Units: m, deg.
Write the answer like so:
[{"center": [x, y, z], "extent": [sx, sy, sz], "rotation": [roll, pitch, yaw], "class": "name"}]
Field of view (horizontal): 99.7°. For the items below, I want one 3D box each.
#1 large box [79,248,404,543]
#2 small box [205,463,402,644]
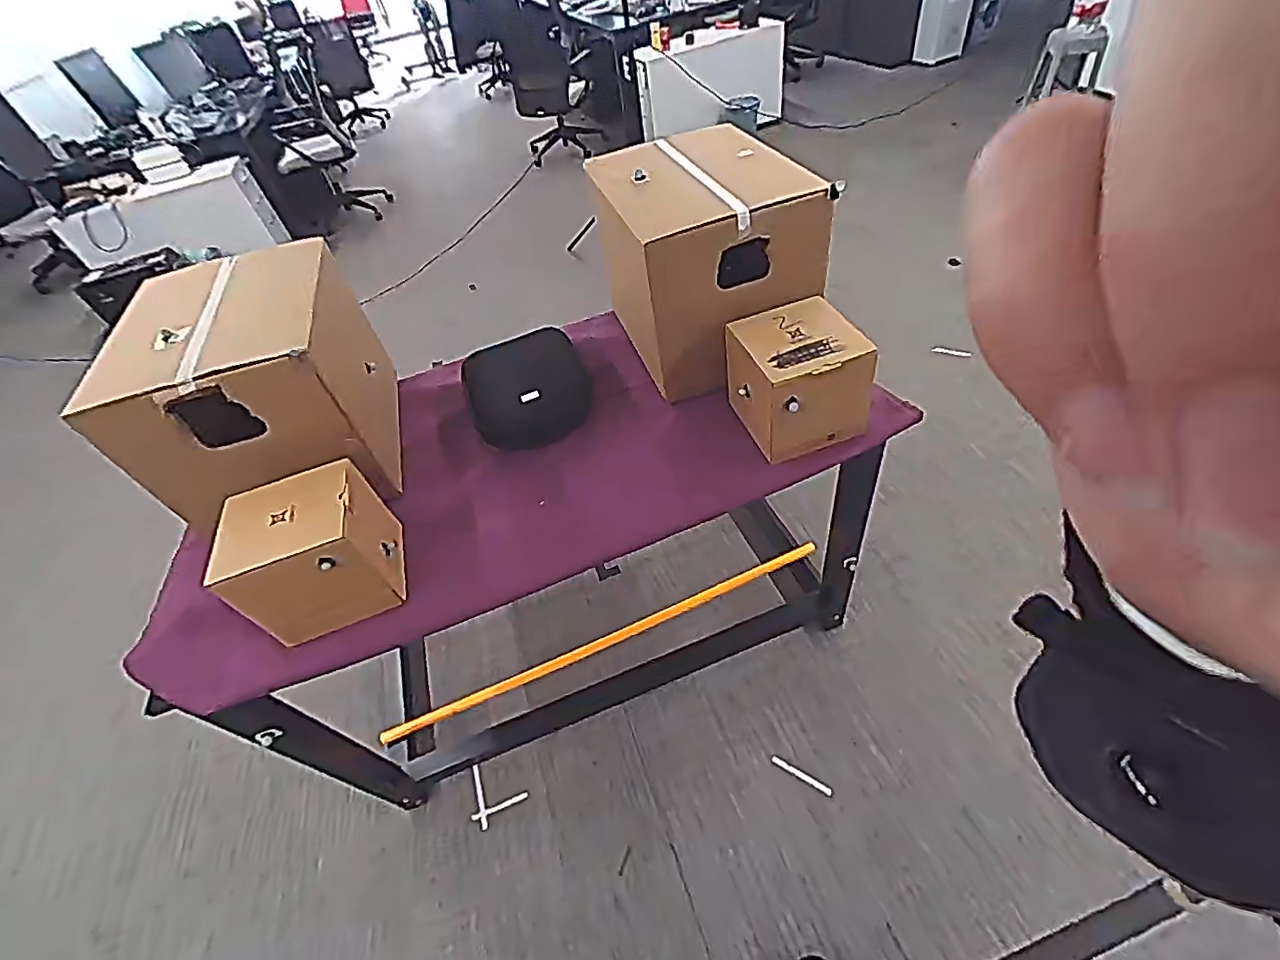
[{"center": [-0.647, -0.149, 0.965], "extent": [0.320, 0.320, 0.408], "rotation": [-20, 50, -8], "class": "large box"}, {"center": [-0.475, 0.111, 0.793], "extent": [0.179, 0.176, 0.168], "rotation": [-21, 47, -8], "class": "small box"}]
